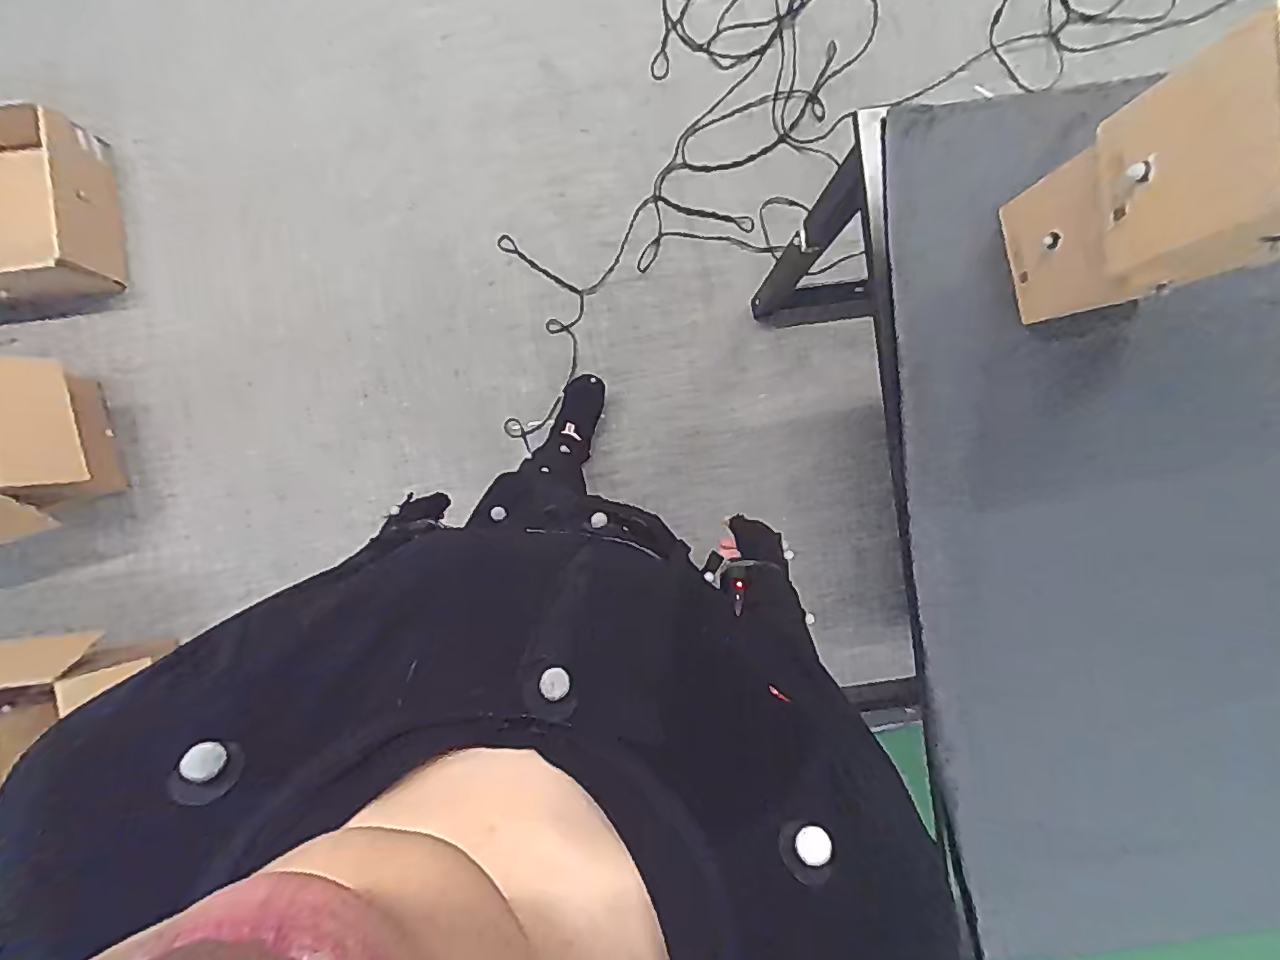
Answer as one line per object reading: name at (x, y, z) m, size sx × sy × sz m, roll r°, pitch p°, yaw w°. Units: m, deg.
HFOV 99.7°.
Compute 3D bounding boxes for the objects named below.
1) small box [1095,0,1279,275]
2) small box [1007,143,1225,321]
small box at (0.587, -0.307, 0.510) m, size 0.179 × 0.176 × 0.168 m, roll -5°, pitch 91°, yaw -1°
small box at (0.597, -0.312, 0.674) m, size 0.179 × 0.176 × 0.168 m, roll -13°, pitch 92°, yaw -2°
